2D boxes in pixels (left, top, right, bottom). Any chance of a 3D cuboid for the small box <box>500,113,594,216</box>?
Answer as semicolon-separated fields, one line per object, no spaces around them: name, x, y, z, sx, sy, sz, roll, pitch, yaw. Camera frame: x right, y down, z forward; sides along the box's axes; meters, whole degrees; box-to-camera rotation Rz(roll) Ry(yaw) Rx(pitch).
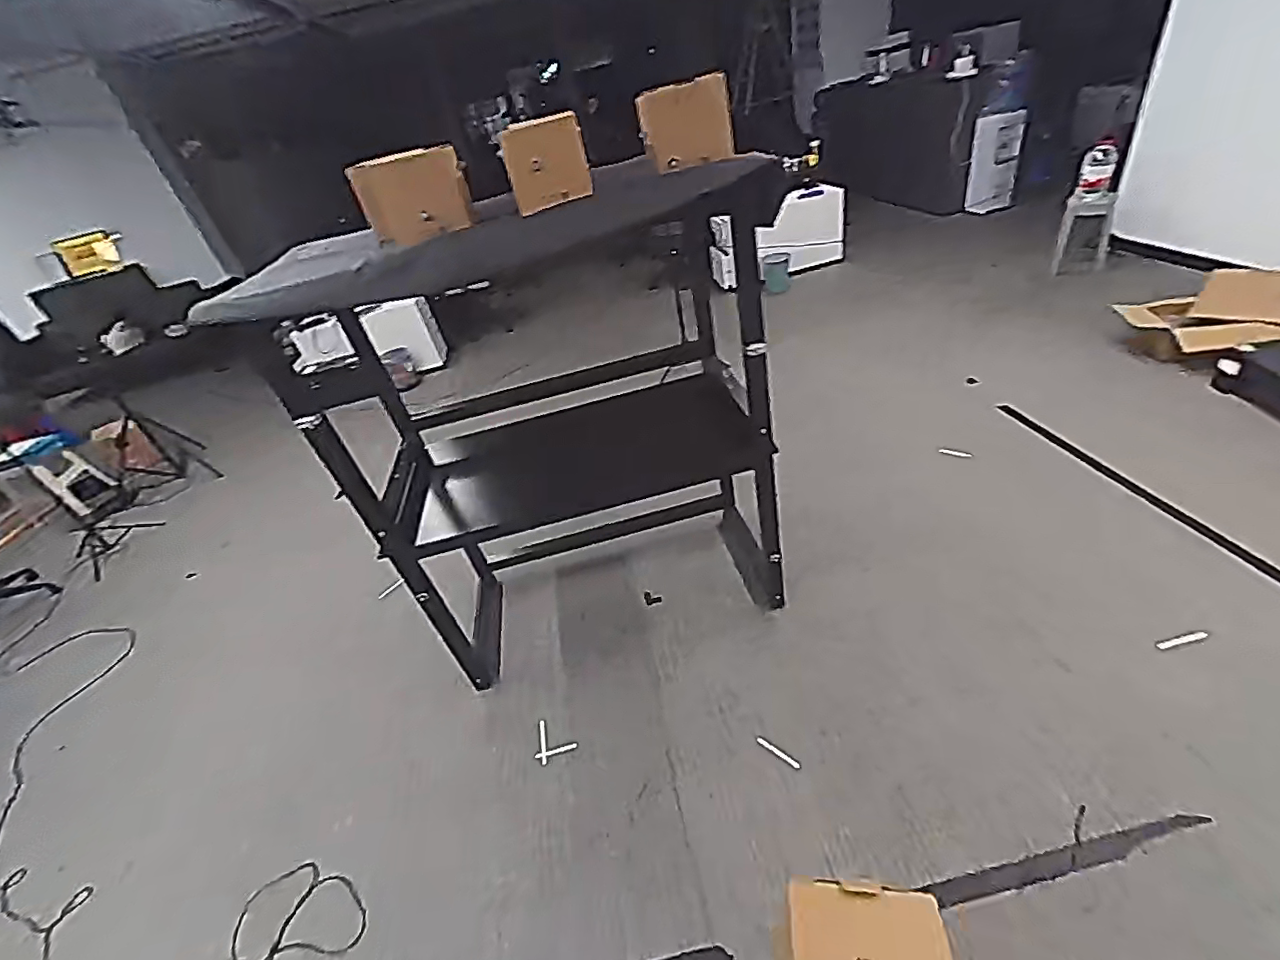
small box;-0.208;-0.714;1.230;0.168;0.176;0.179;-15;33;-1

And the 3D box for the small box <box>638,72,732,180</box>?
small box;0.100;-0.785;1.213;0.168;0.176;0.179;-14;32;1
